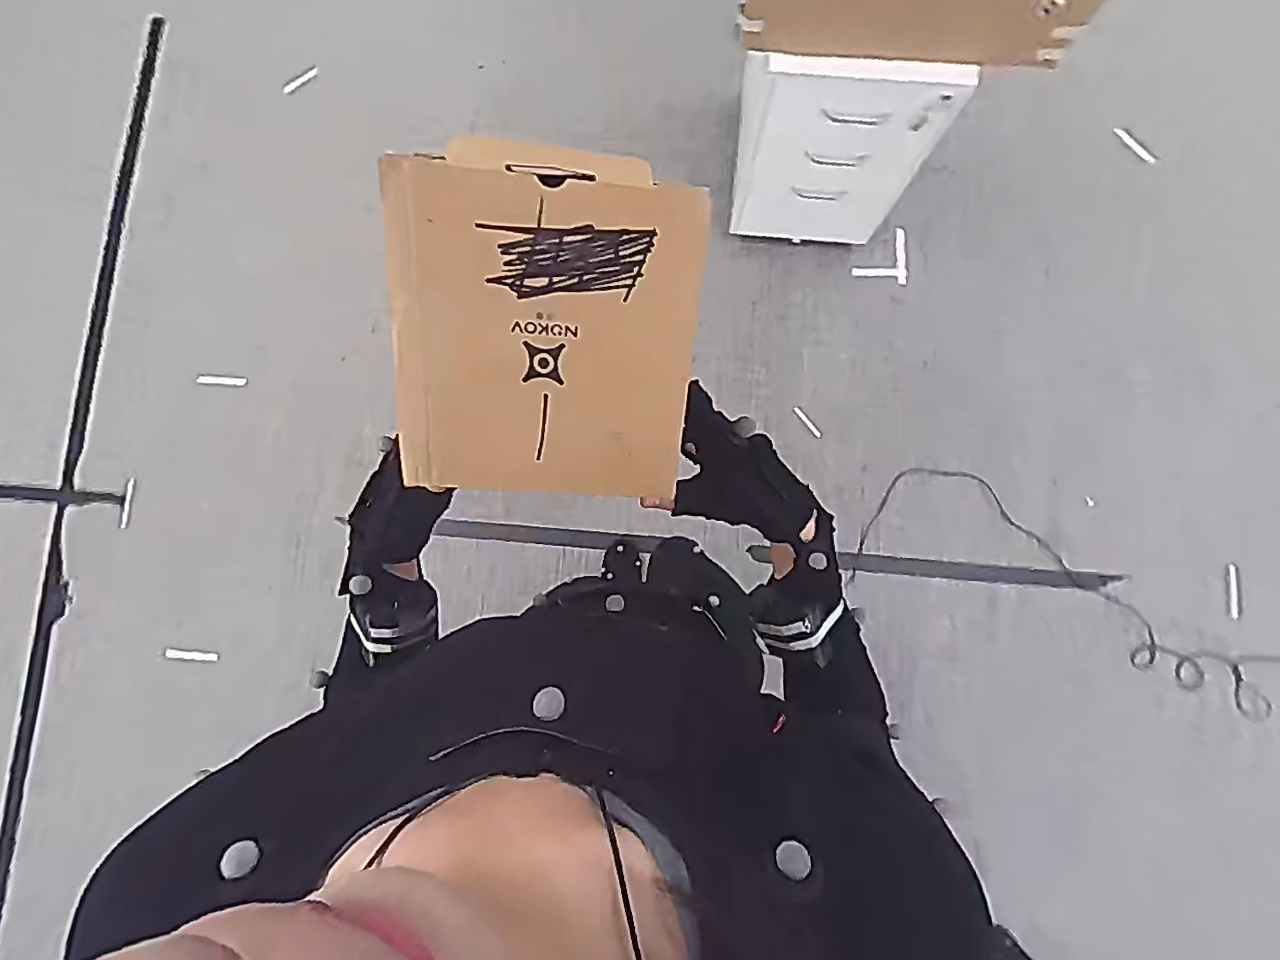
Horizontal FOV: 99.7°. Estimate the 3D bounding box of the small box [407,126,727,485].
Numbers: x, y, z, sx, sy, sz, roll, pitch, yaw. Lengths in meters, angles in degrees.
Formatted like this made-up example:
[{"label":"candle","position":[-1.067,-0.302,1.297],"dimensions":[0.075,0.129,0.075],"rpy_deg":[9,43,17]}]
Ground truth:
[{"label":"small box","position":[-0.051,-0.110,0.373],"dimensions":[0.168,0.176,0.179],"rpy_deg":[4,109,-7]}]
